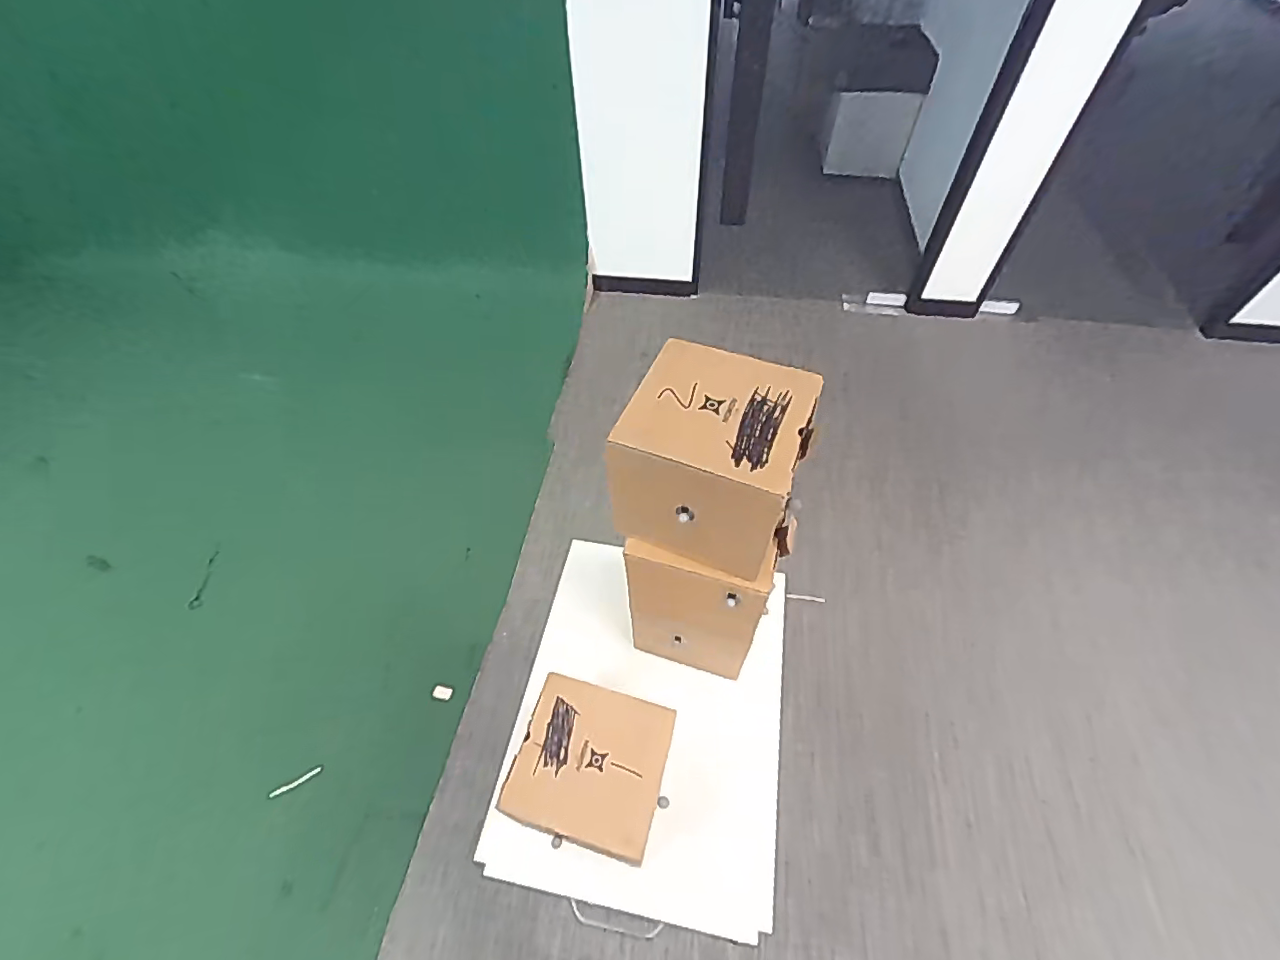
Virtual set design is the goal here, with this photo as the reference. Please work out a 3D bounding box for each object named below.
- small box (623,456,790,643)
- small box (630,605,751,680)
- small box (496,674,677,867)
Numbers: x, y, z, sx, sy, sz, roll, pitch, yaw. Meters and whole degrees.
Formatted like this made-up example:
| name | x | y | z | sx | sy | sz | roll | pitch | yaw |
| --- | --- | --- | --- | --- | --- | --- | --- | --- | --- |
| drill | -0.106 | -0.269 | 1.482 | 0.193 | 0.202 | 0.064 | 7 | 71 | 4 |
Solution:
| name | x | y | z | sx | sy | sz | roll | pitch | yaw |
| --- | --- | --- | --- | --- | --- | --- | --- | --- | --- |
| small box | 0.087 | 0.097 | 0.723 | 0.179 | 0.176 | 0.168 | 14 | 54 | 11 |
| small box | 0.094 | 0.194 | 0.853 | 0.179 | 0.176 | 0.168 | 14 | 54 | 12 |
| small box | -0.059 | 0.384 | 0.708 | 0.179 | 0.176 | 0.168 | 14 | 53 | 10 |
